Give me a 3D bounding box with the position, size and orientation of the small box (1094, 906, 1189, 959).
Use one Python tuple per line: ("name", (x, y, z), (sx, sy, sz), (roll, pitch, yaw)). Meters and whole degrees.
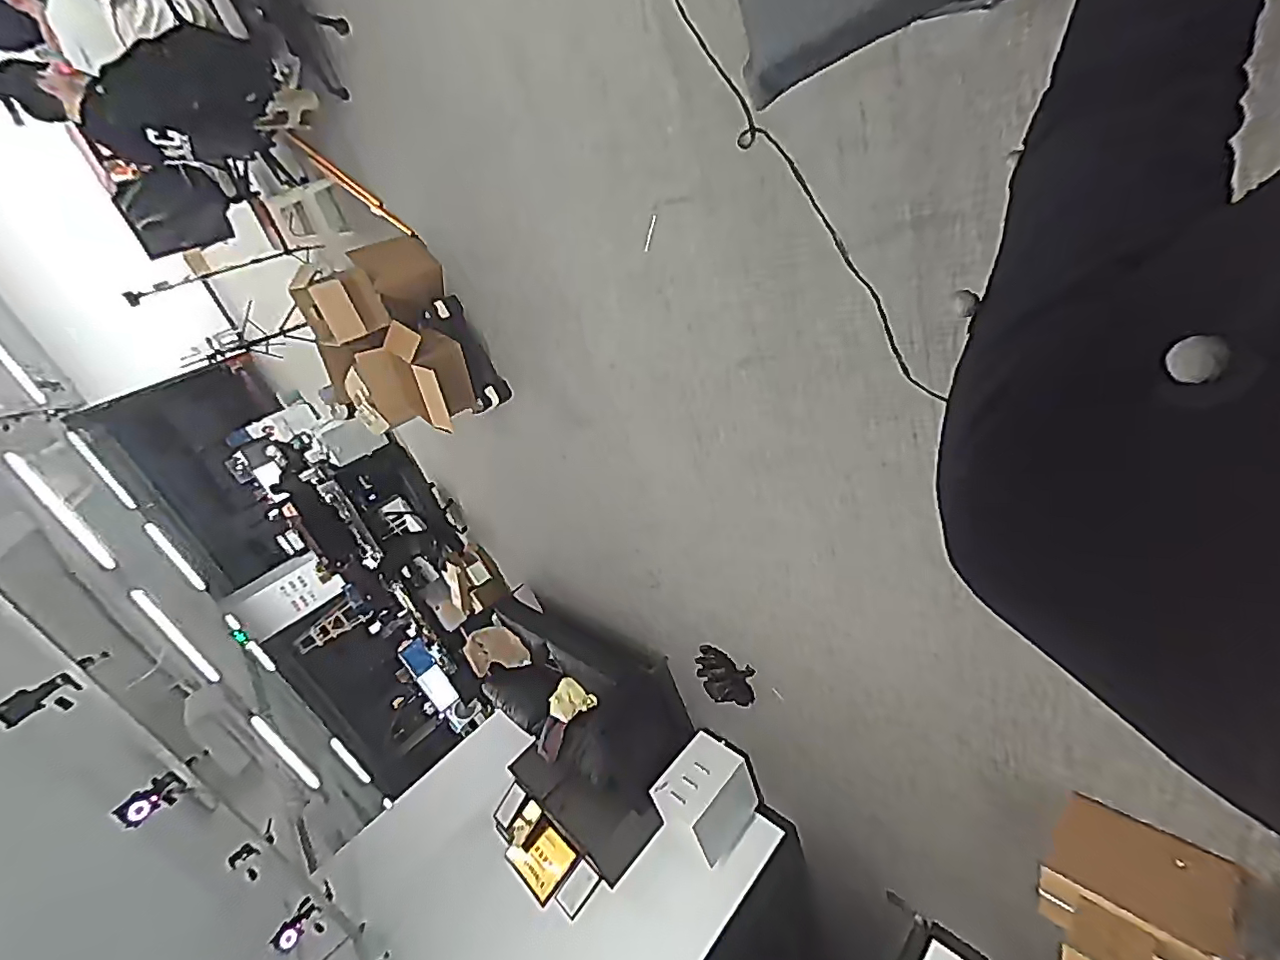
("small box", (1.436, 1.390, 1.550), (0.179, 0.176, 0.168), (12, 129, 52))
